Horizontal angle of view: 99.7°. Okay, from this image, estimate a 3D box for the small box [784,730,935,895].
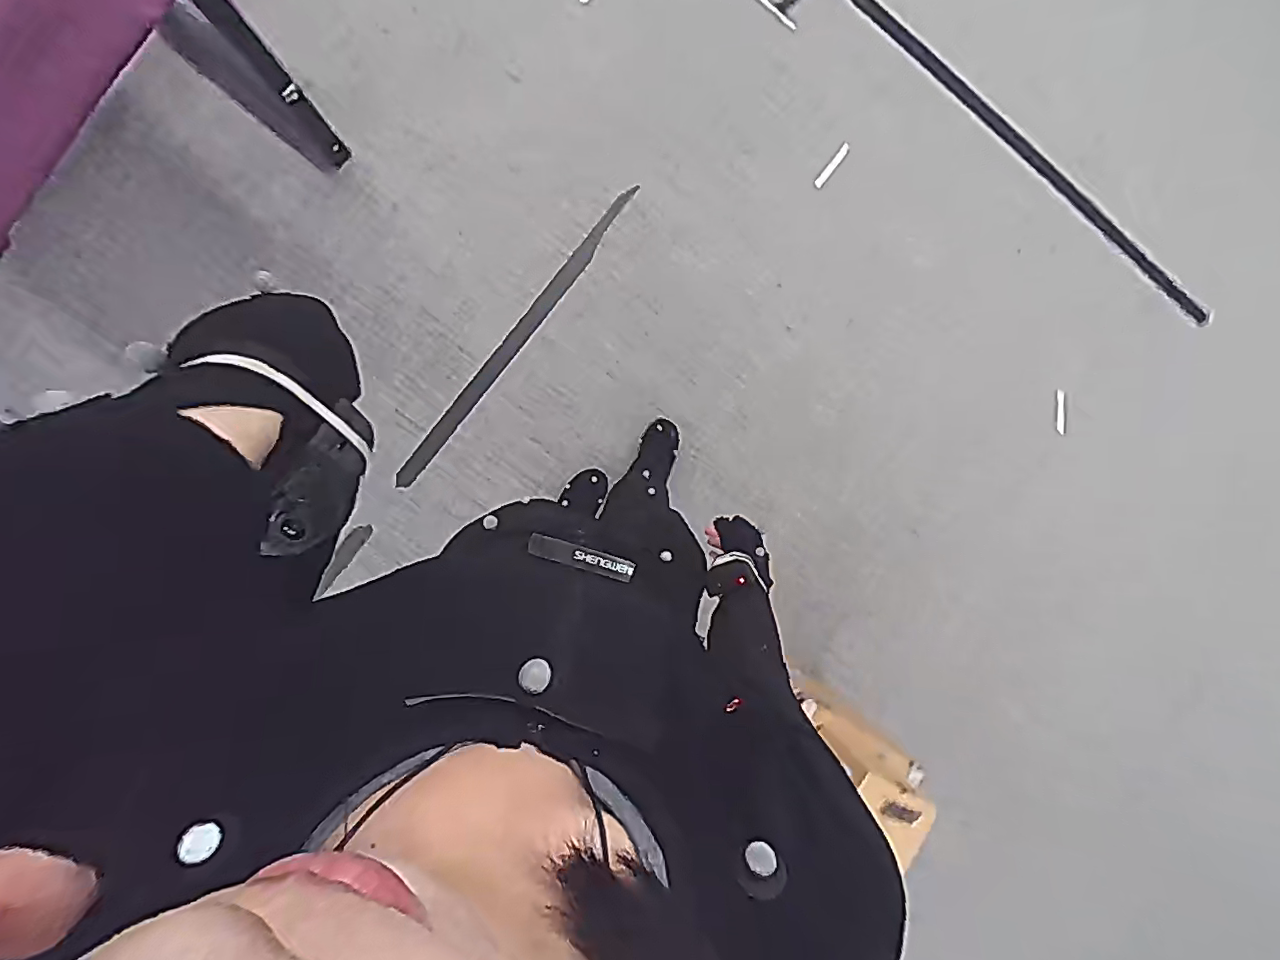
[{"bbox_3d":[0.403,0.615,1.024,0.168,0.176,0.179,32,88,-8],"label":"small box"}]
